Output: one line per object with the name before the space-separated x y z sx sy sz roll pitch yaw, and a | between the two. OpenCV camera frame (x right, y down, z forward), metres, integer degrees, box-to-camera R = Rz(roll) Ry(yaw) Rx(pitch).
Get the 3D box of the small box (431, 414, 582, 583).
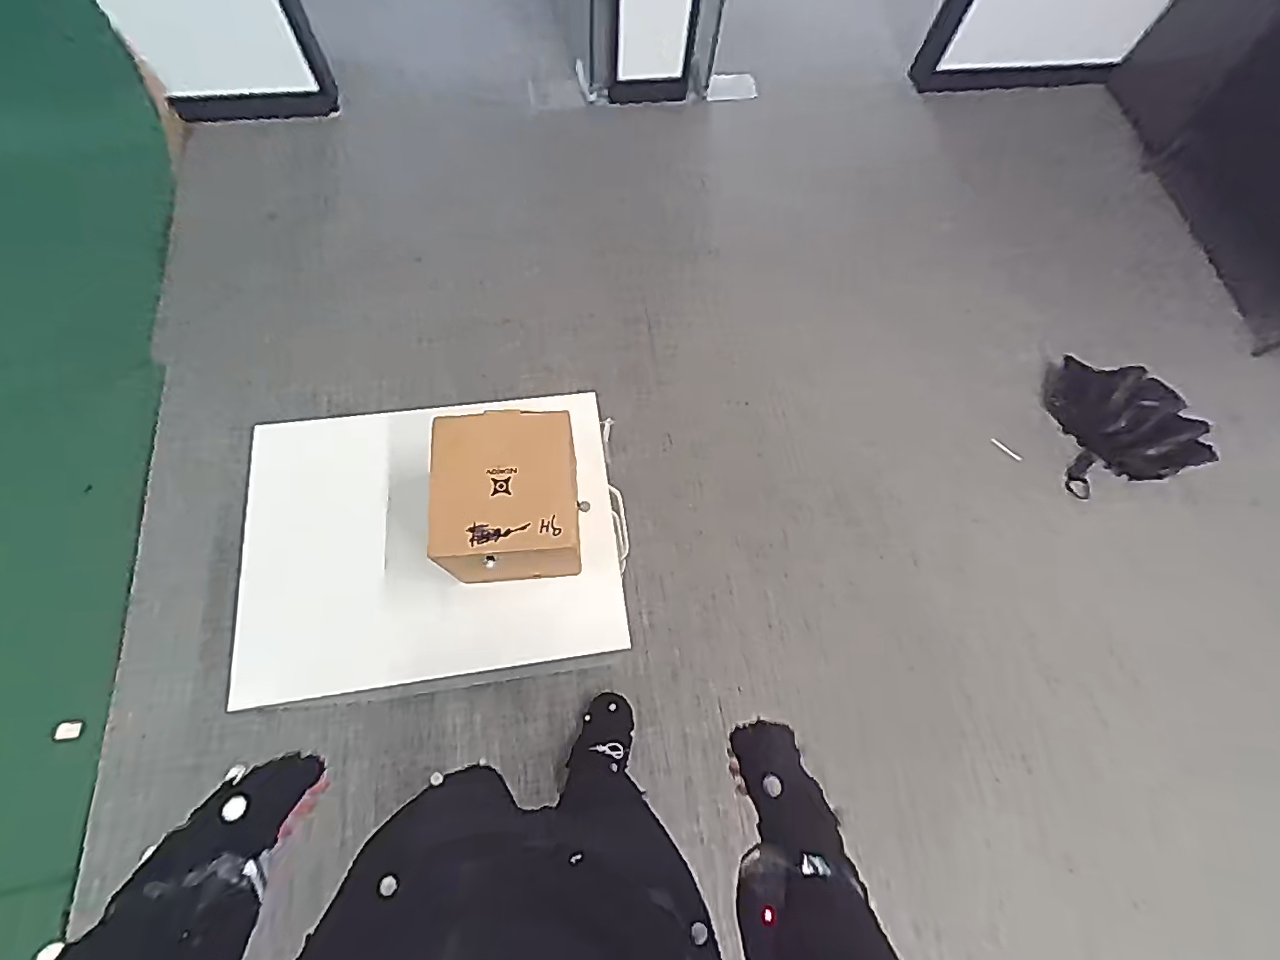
small box | -0.163 0.030 0.713 0.168 0.176 0.179 -3 69 -5
